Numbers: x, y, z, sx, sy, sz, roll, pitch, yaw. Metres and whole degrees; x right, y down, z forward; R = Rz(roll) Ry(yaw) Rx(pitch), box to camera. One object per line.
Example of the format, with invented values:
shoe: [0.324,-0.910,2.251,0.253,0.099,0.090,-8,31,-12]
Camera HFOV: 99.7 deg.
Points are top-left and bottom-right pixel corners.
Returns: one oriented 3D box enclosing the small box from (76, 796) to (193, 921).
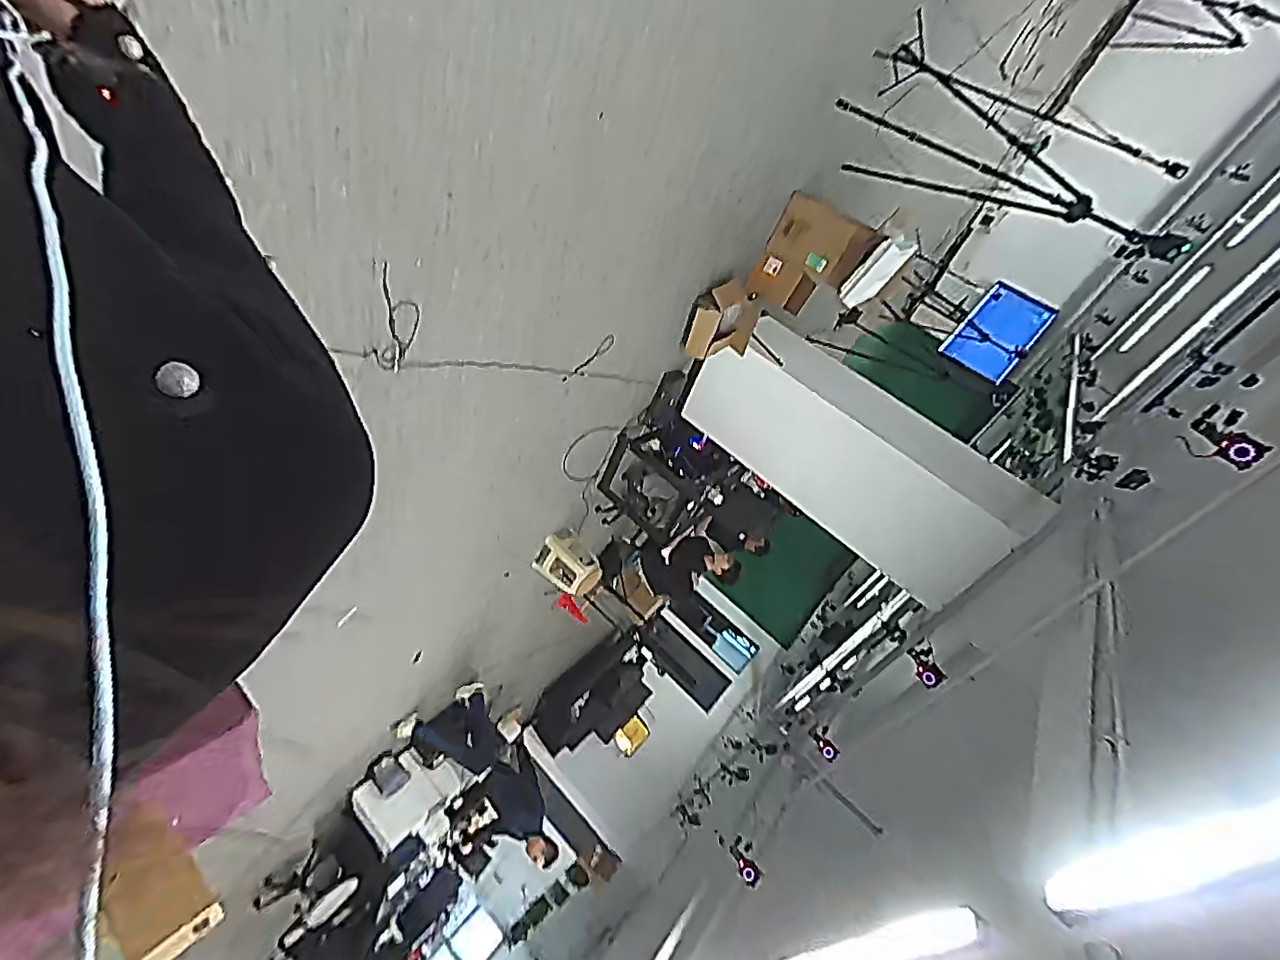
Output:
small box: [-1.303,0.969,1.394,0.179,0.176,0.168,-28,152,-49]
